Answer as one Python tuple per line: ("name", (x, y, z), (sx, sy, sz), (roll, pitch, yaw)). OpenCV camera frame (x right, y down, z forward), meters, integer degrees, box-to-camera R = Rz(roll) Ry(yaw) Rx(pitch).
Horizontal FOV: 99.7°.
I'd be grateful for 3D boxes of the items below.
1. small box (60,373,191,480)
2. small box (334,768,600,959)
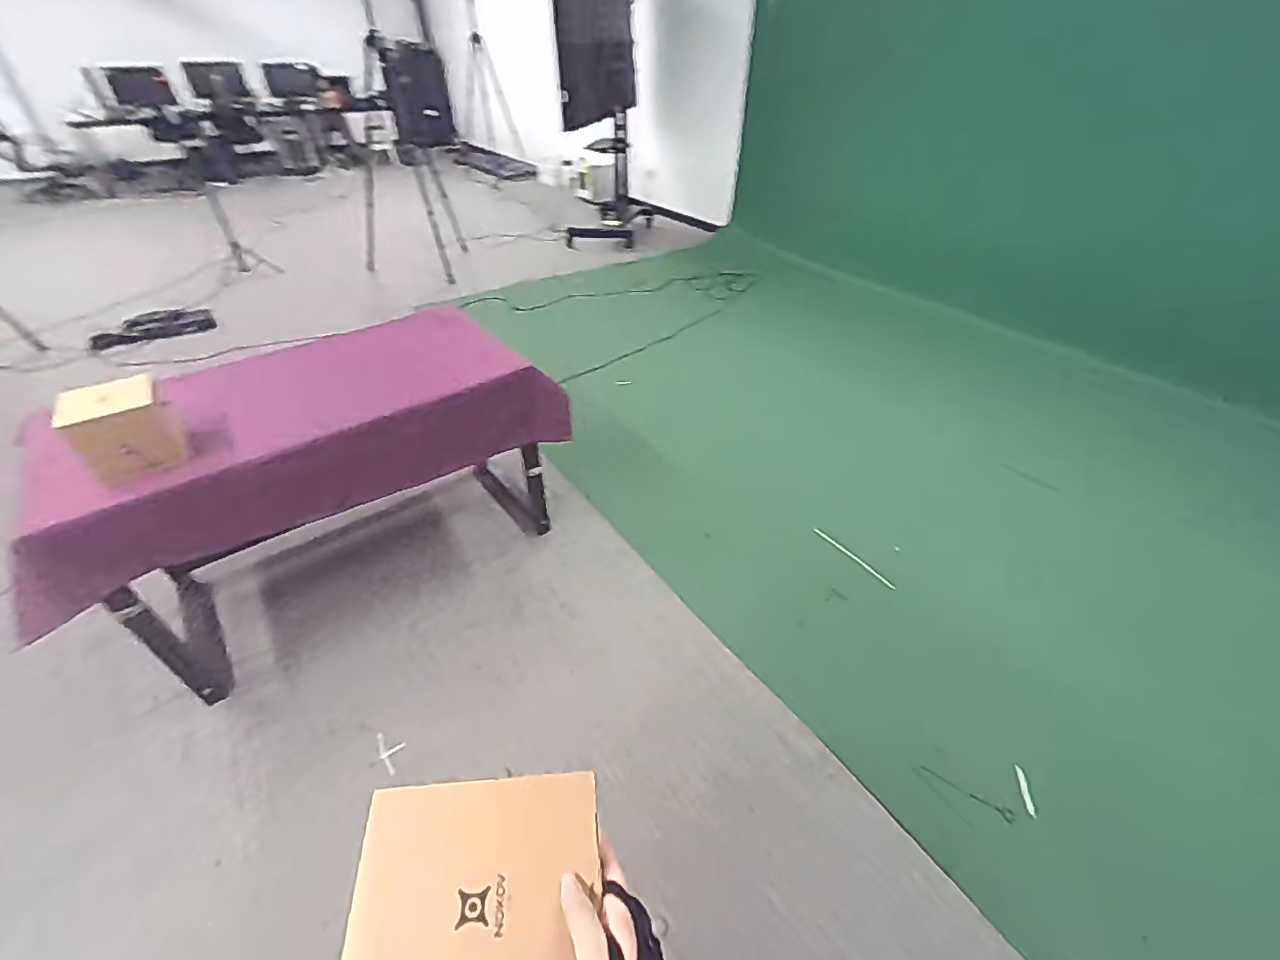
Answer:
("small box", (-1.183, -0.120, 1.257), (0.168, 0.176, 0.179), (-24, 45, -27))
("small box", (-0.126, 0.354, 0.437), (0.179, 0.176, 0.168), (-1, 47, -10))
